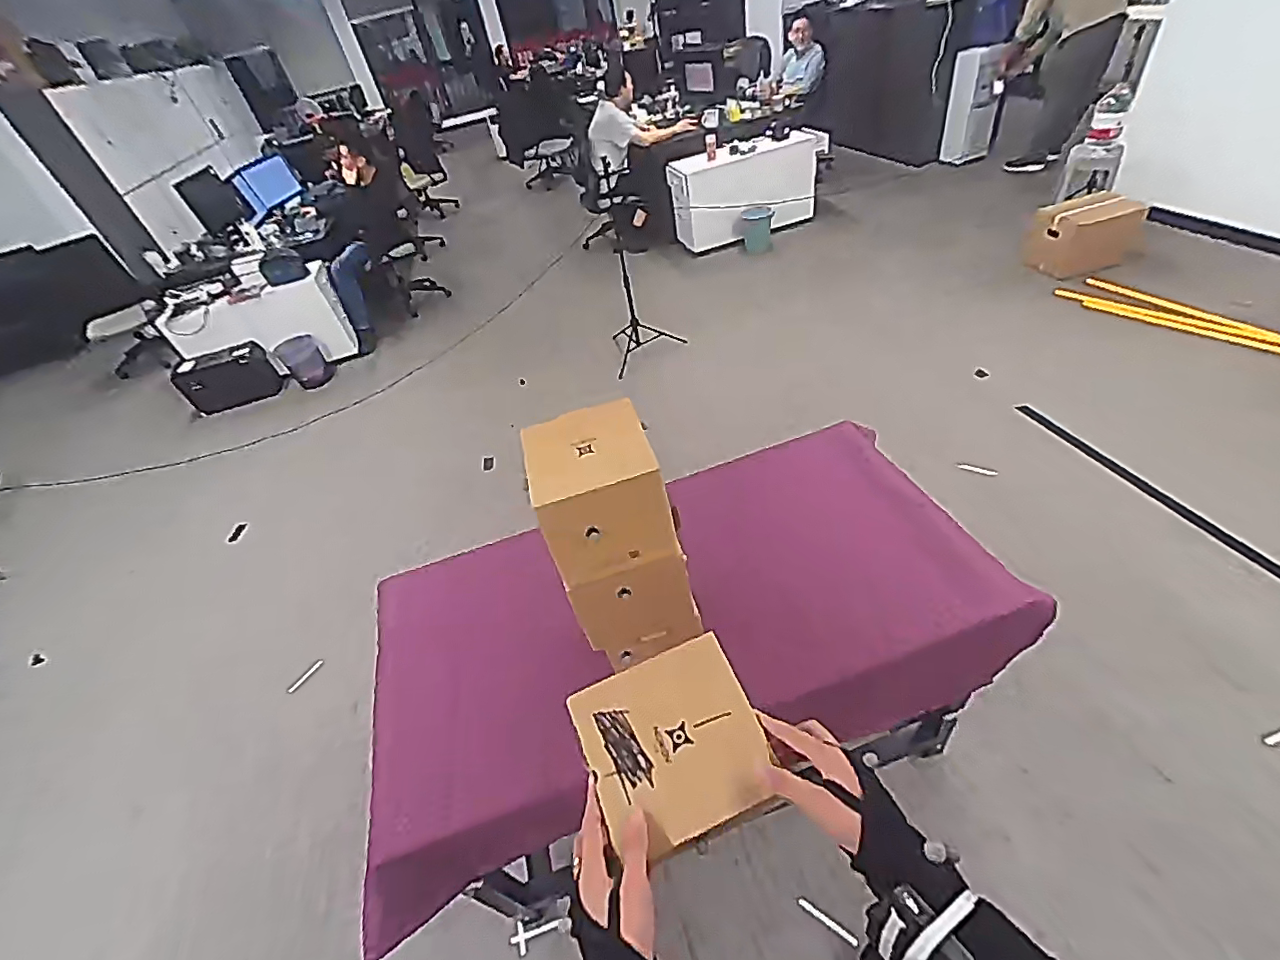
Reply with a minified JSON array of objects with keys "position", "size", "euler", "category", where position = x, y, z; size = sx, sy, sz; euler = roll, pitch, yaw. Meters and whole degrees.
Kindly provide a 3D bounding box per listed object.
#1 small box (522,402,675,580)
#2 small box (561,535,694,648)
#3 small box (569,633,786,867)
[{"position":[-0.058,0.021,0.772],"size":[0.168,0.176,0.179],"euler":[-18,41,-4],"category":"small box"},{"position":[-0.025,0.143,0.874],"size":[0.179,0.176,0.168],"euler":[-17,42,-4],"category":"small box"},{"position":[0.043,0.305,0.603],"size":[0.179,0.176,0.168],"euler":[-23,54,-7],"category":"small box"}]
